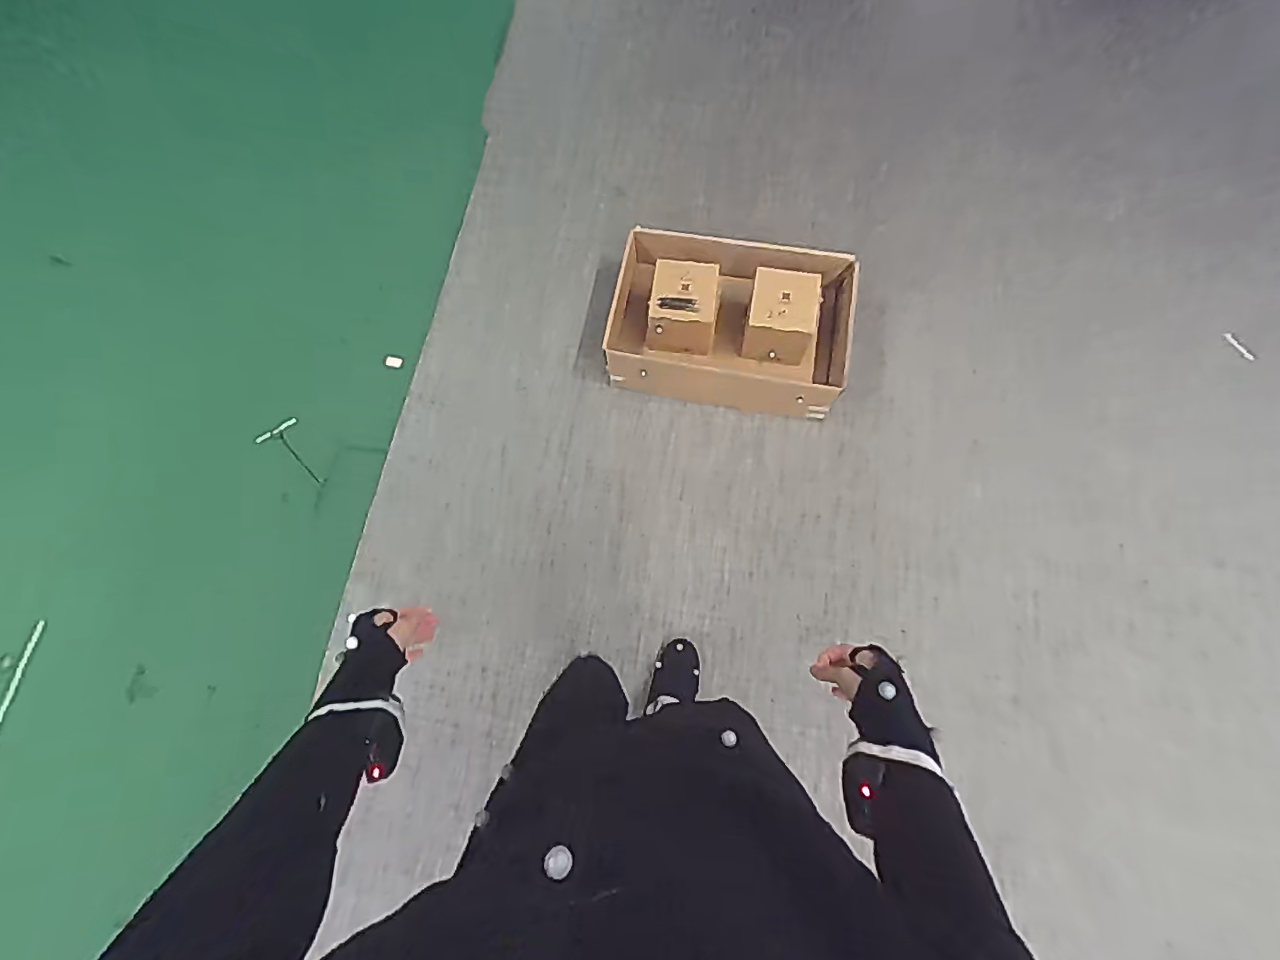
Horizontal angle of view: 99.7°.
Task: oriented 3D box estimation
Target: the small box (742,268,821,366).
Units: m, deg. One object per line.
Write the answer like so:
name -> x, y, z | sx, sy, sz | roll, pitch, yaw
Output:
small box -> 0.372, -0.431, 1.441 | 0.168, 0.176, 0.179 | 10, 75, 7
